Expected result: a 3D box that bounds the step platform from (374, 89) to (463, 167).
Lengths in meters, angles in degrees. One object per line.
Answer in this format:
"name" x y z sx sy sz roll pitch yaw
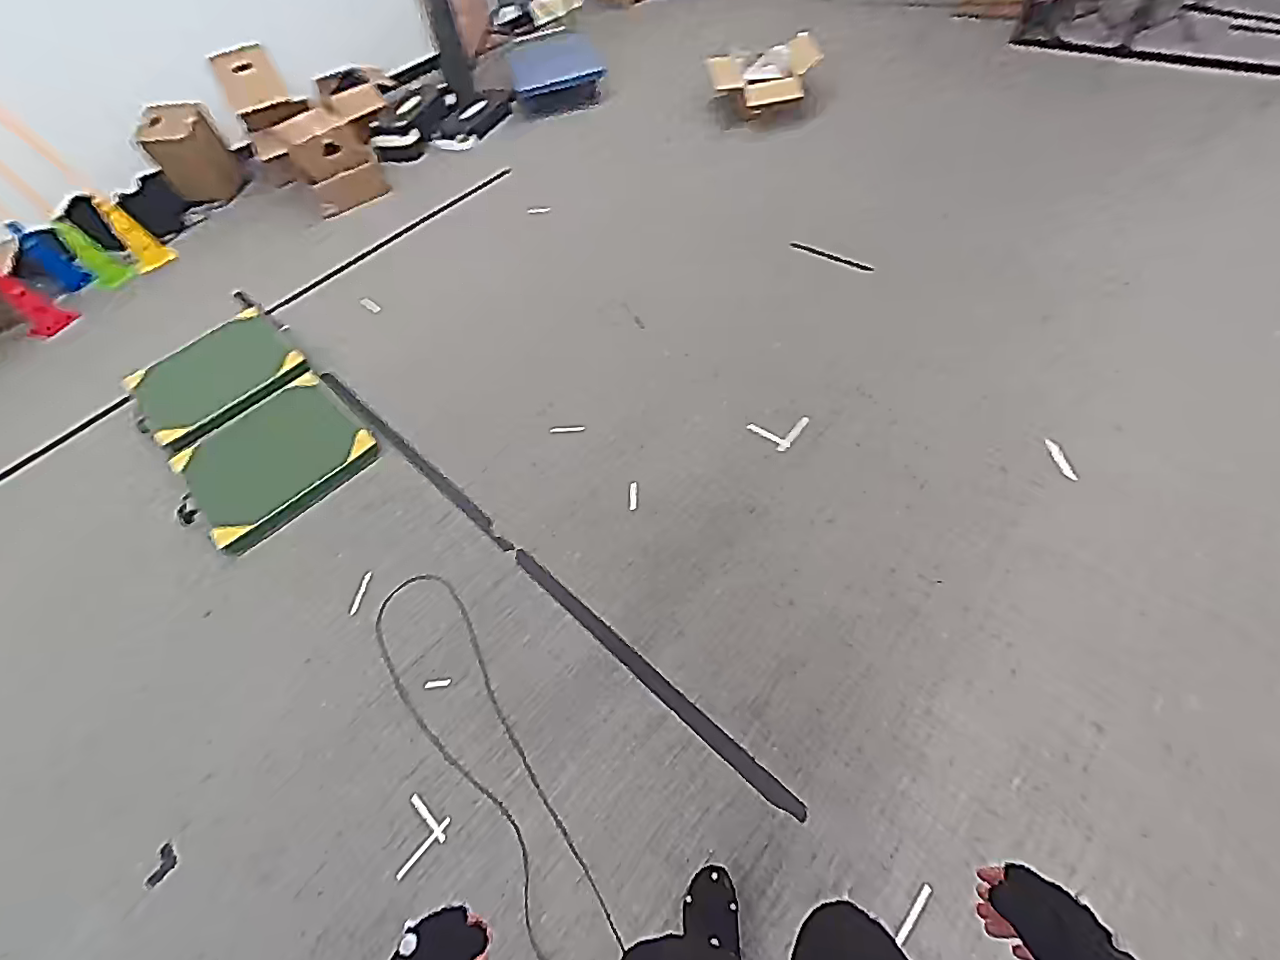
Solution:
"step platform" -1.456 -2.340 3.569 0.286 0.204 0.684 8 57 14
